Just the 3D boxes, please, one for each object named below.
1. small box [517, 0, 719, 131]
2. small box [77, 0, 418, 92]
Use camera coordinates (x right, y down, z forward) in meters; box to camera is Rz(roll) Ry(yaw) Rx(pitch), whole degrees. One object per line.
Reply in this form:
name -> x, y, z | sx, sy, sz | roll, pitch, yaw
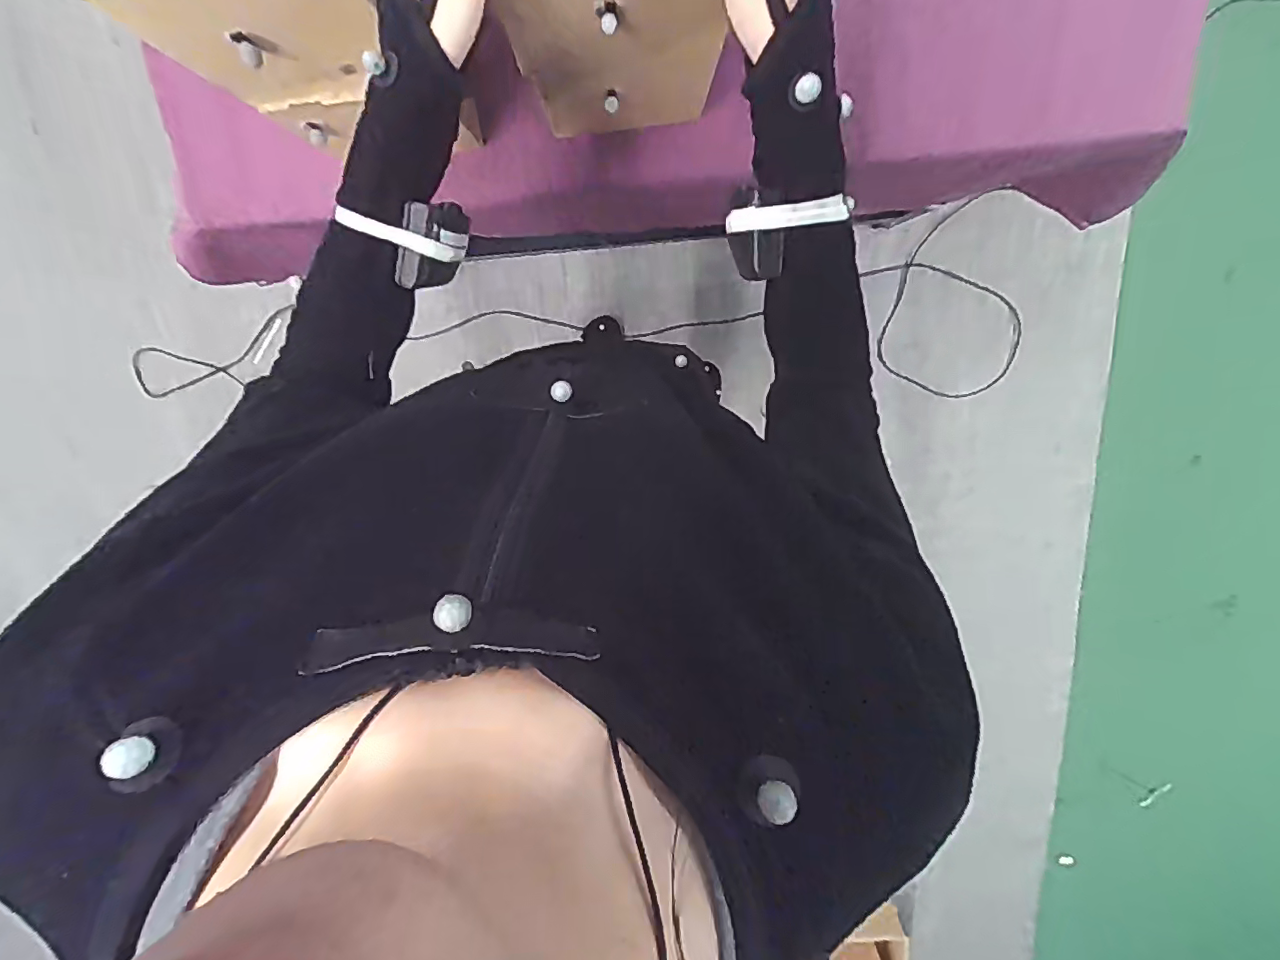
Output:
small box -> -0.022, -0.471, 0.535 | 0.179, 0.176, 0.168 | -6, 106, 2
small box -> -0.282, -0.409, 0.382 | 0.168, 0.176, 0.179 | -9, 103, 2
